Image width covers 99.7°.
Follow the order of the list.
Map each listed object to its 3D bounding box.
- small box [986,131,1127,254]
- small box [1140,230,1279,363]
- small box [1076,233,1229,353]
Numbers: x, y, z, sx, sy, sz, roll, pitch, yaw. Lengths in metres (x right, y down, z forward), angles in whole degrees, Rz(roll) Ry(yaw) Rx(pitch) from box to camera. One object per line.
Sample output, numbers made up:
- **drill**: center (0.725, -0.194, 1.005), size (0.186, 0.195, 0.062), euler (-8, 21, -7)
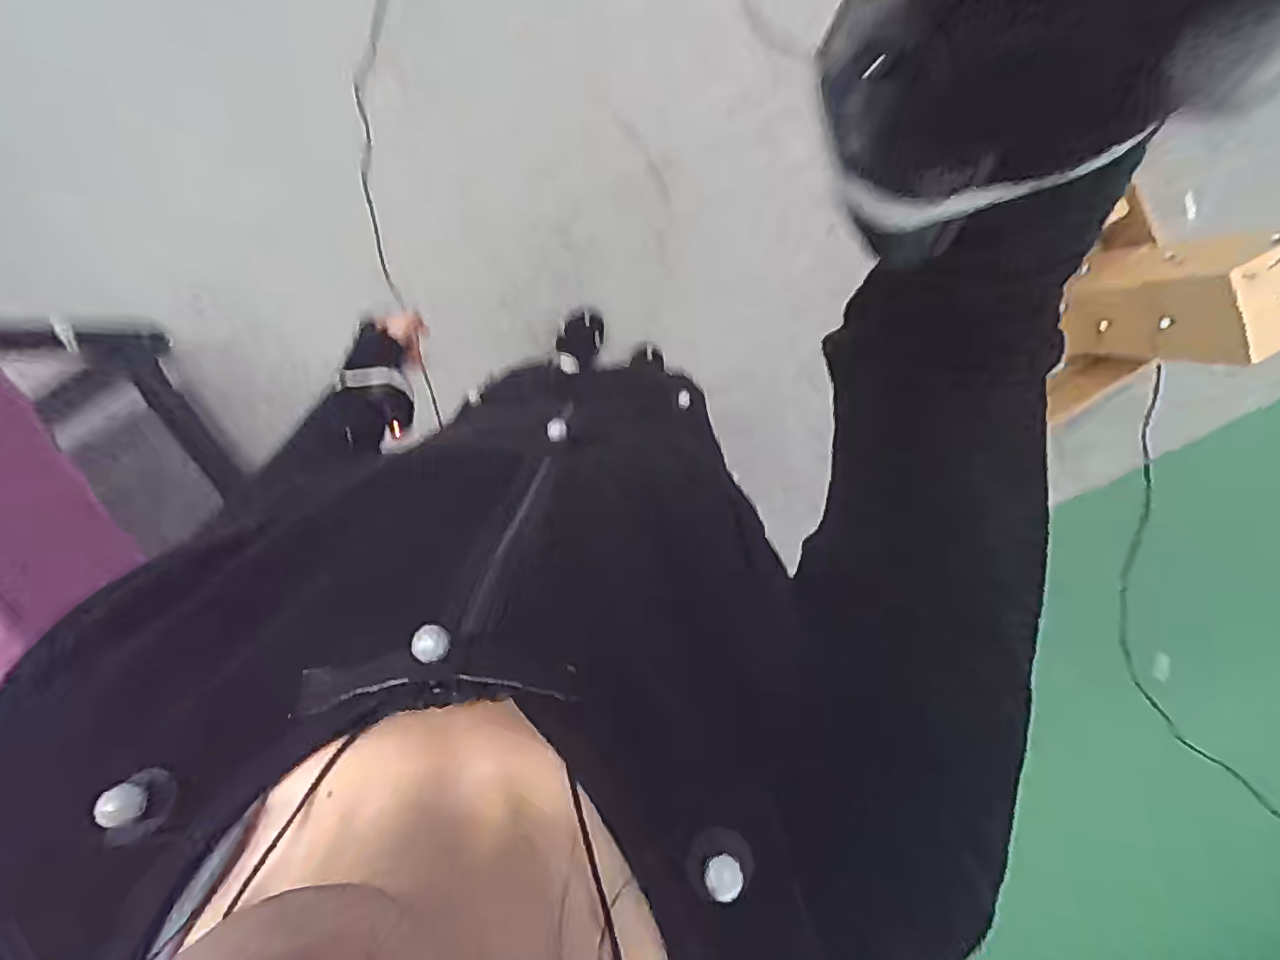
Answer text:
- **small box**: center (0.929, -0.636, 1.223), size (0.168, 0.176, 0.179), euler (-32, 106, 10)
- **small box**: center (1.067, -0.332, 0.974), size (0.168, 0.176, 0.179), euler (-27, 105, 7)
- **small box**: center (1.078, -0.386, 1.130), size (0.179, 0.176, 0.168), euler (-31, 104, 9)
